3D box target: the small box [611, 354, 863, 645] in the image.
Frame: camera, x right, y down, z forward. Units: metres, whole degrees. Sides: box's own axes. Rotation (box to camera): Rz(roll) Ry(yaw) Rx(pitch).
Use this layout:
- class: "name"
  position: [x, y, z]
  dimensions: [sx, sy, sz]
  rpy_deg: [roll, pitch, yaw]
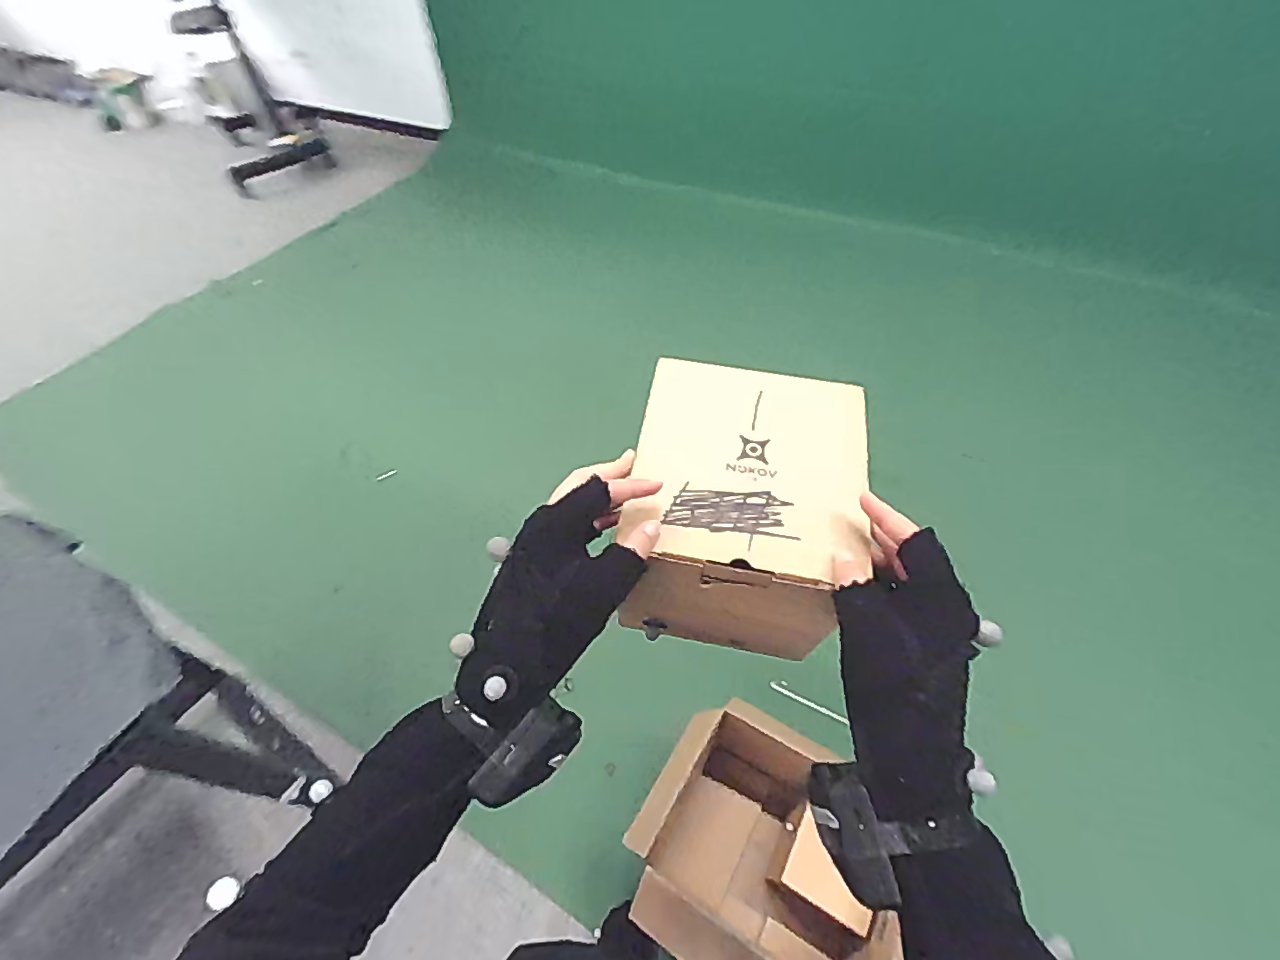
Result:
- class: "small box"
  position: [0.077, 0.024, 0.457]
  dimensions: [0.168, 0.176, 0.179]
  rpy_deg: [9, 57, 5]
